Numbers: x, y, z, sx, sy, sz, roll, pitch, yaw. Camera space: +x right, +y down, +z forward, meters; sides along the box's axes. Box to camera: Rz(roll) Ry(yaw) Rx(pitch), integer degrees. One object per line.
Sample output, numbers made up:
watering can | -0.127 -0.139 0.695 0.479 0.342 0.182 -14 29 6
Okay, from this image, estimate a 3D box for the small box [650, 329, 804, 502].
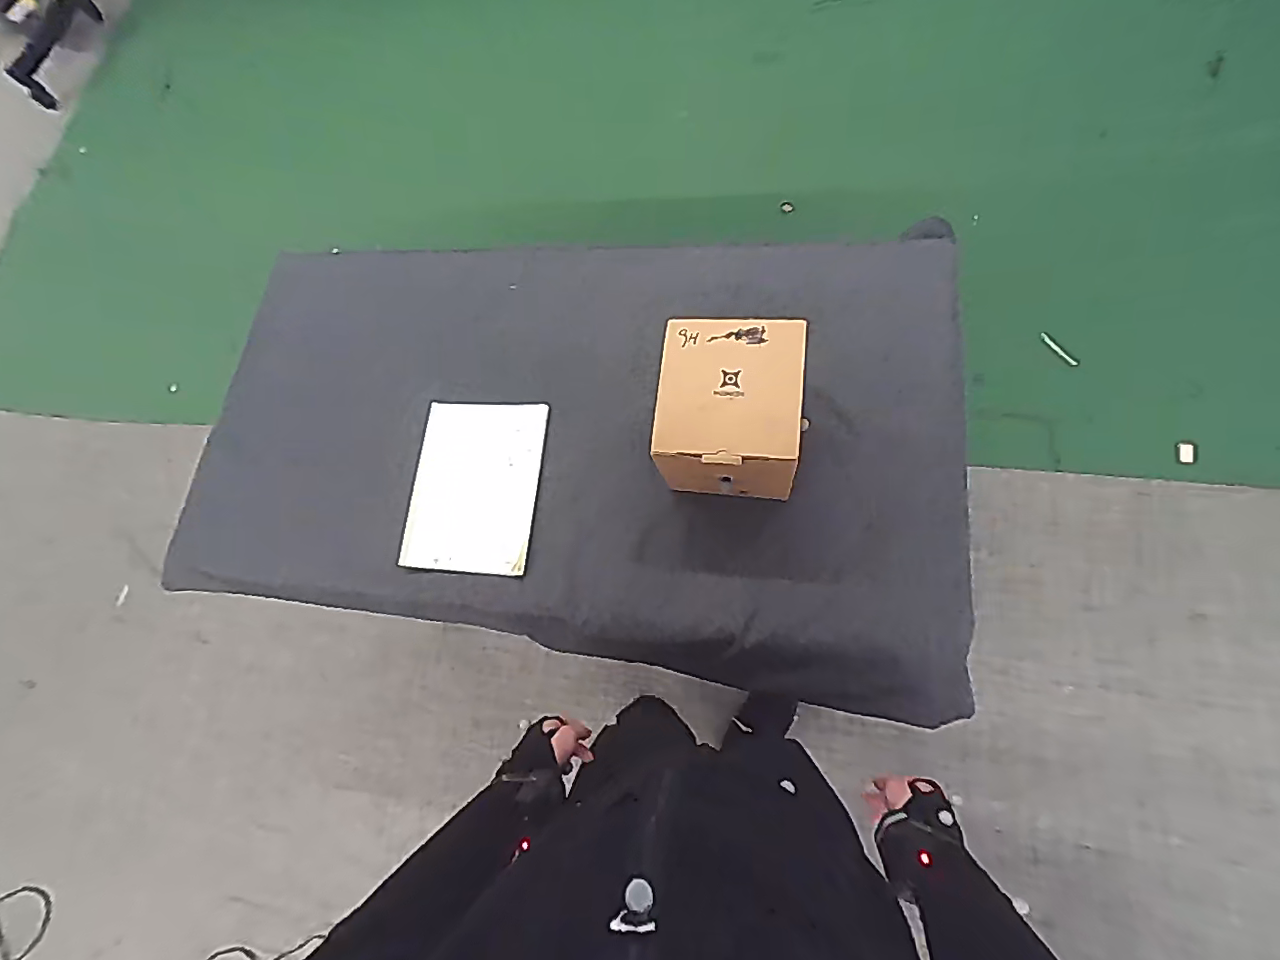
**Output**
small box | 0.117 -0.075 0.700 0.168 0.176 0.179 4 76 12
